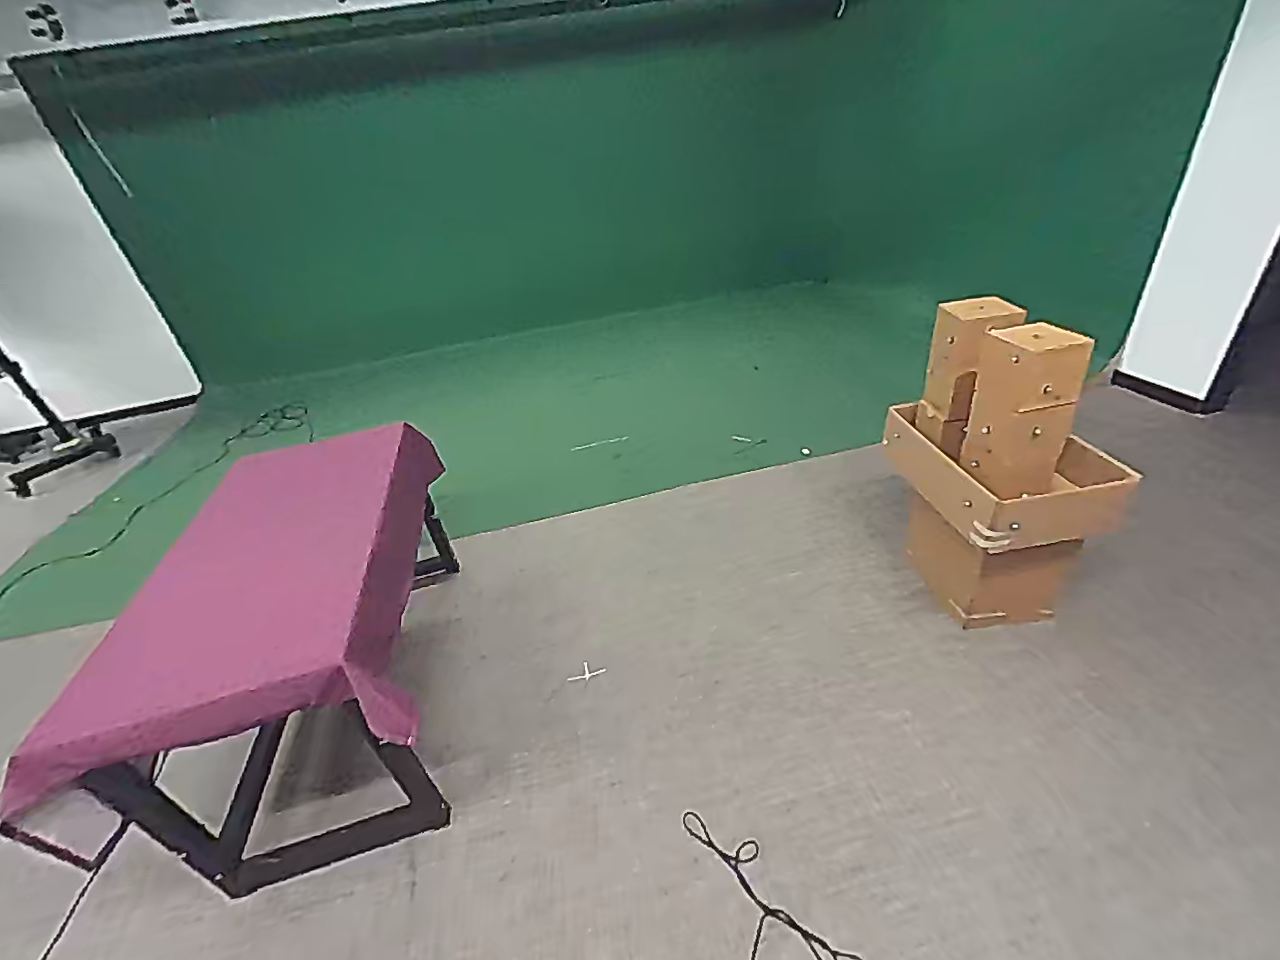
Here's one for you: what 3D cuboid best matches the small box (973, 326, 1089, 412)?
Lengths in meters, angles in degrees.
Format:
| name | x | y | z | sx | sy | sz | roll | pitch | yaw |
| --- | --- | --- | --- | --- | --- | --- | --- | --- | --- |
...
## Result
| name | x | y | z | sx | sy | sz | roll | pitch | yaw |
| --- | --- | --- | --- | --- | --- | --- | --- | --- | --- |
| small box | 1.034 | -0.299 | 1.450 | 0.168 | 0.176 | 0.179 | -11 | 32 | -3 |

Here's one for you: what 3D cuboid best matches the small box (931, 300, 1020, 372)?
| name | x | y | z | sx | sy | sz | roll | pitch | yaw |
| --- | --- | --- | --- | --- | --- | --- | --- | --- | --- |
| small box | 1.028 | -0.445 | 1.677 | 0.179 | 0.176 | 0.168 | -6 | 34 | 3 |

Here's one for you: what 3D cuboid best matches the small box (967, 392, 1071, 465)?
| name | x | y | z | sx | sy | sz | roll | pitch | yaw |
| --- | --- | --- | --- | --- | --- | --- | --- | --- | --- |
| small box | 1.058 | -0.159 | 1.532 | 0.179 | 0.176 | 0.168 | -12 | 32 | -3 |
